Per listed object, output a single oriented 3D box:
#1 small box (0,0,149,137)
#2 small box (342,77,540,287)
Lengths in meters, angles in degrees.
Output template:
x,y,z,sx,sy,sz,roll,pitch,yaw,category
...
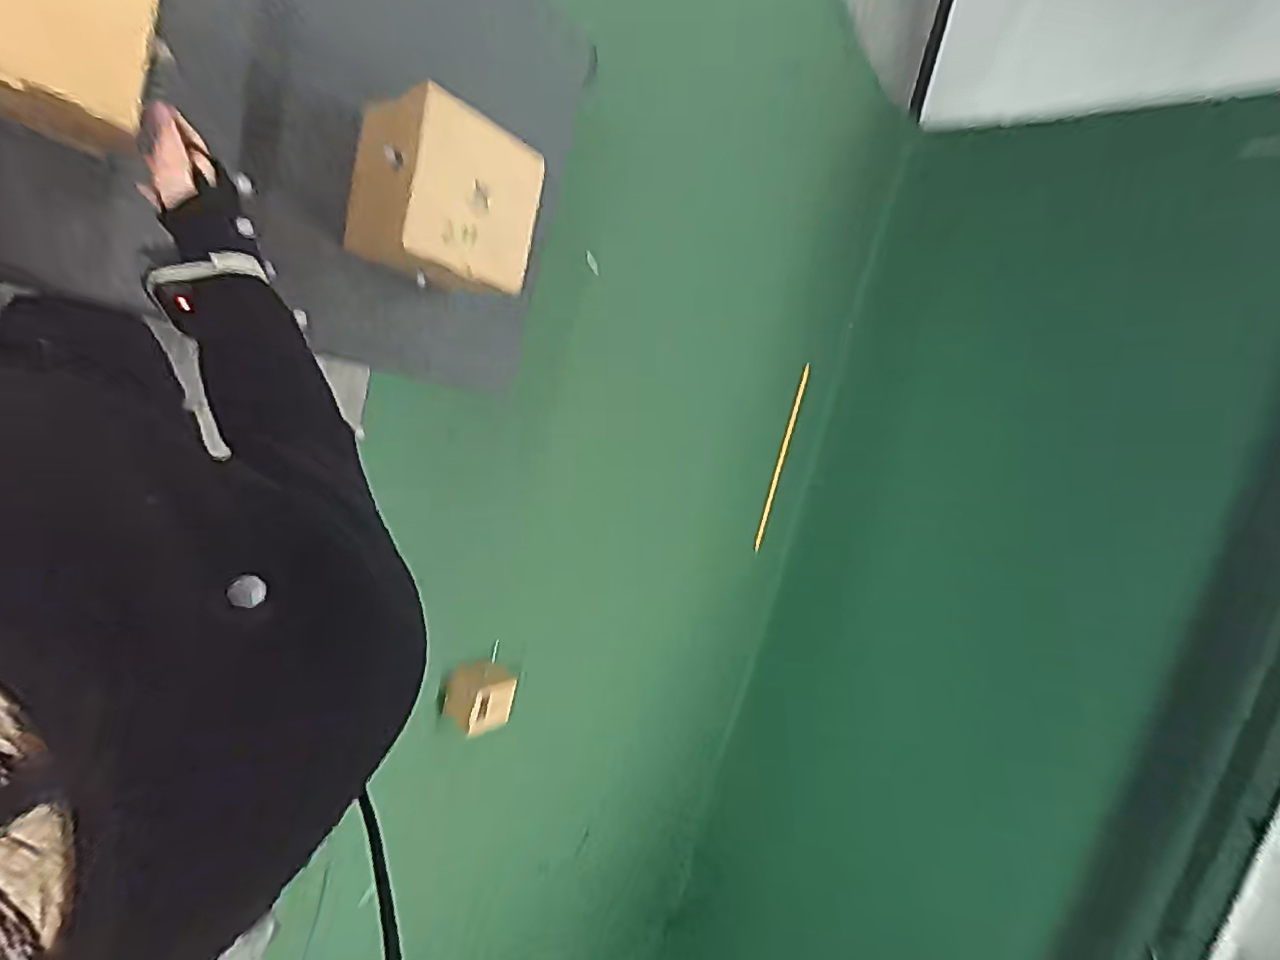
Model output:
x,y,z,sx,sy,sz,roll,pitch,yaw,category
-0.495,-0.393,0.402,0.168,0.176,0.179,8,98,-54,small box
-0.260,-0.366,0.699,0.168,0.176,0.179,6,101,-50,small box
